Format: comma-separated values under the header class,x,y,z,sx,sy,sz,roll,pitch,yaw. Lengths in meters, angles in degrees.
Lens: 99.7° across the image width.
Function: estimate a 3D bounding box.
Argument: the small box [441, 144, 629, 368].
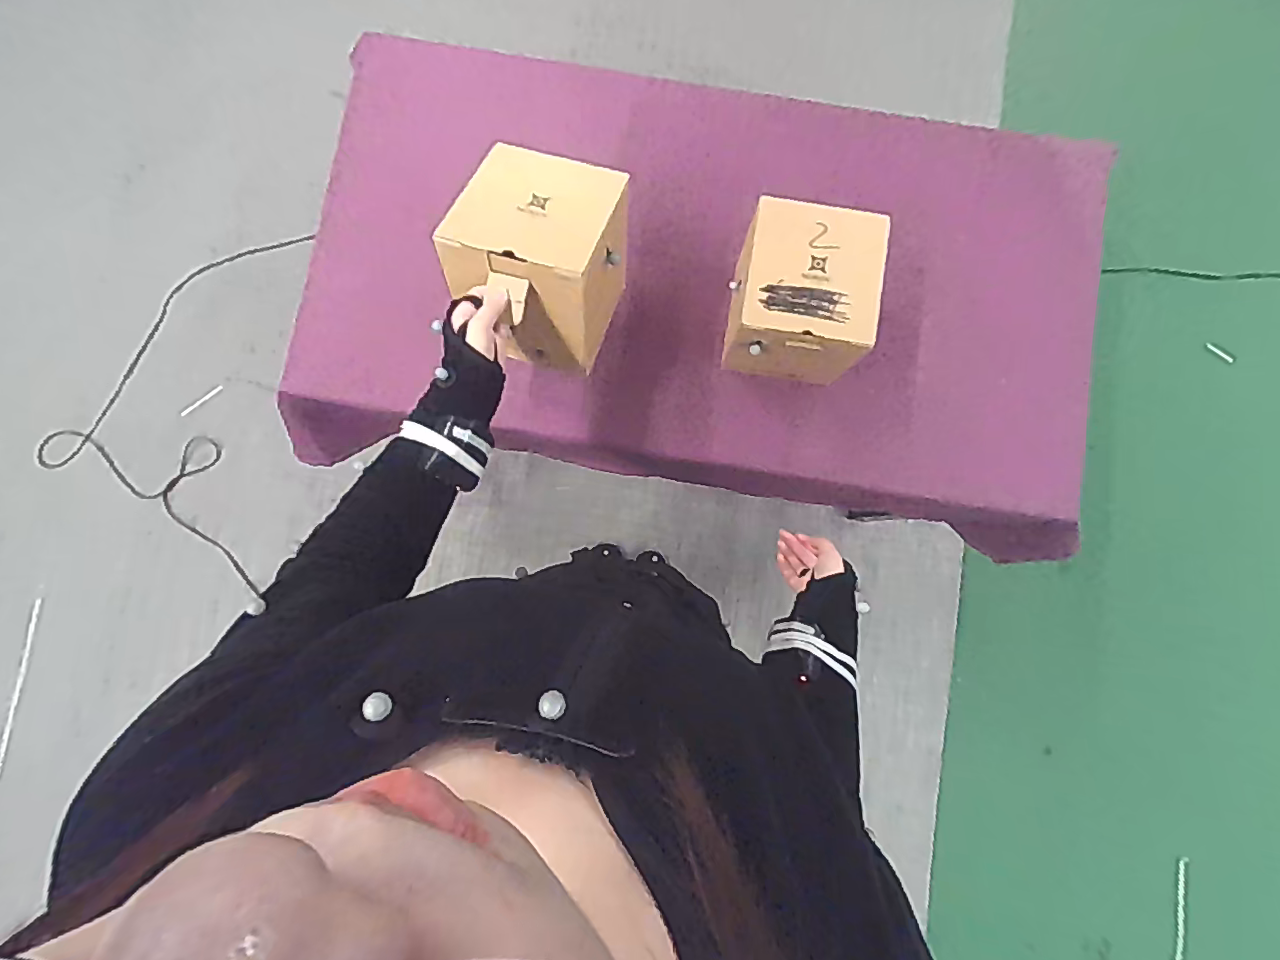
class,x,y,z,sx,sy,sz,roll,pitch,yaw
small box,-0.119,-0.274,0.679,0.168,0.176,0.179,15,63,4
